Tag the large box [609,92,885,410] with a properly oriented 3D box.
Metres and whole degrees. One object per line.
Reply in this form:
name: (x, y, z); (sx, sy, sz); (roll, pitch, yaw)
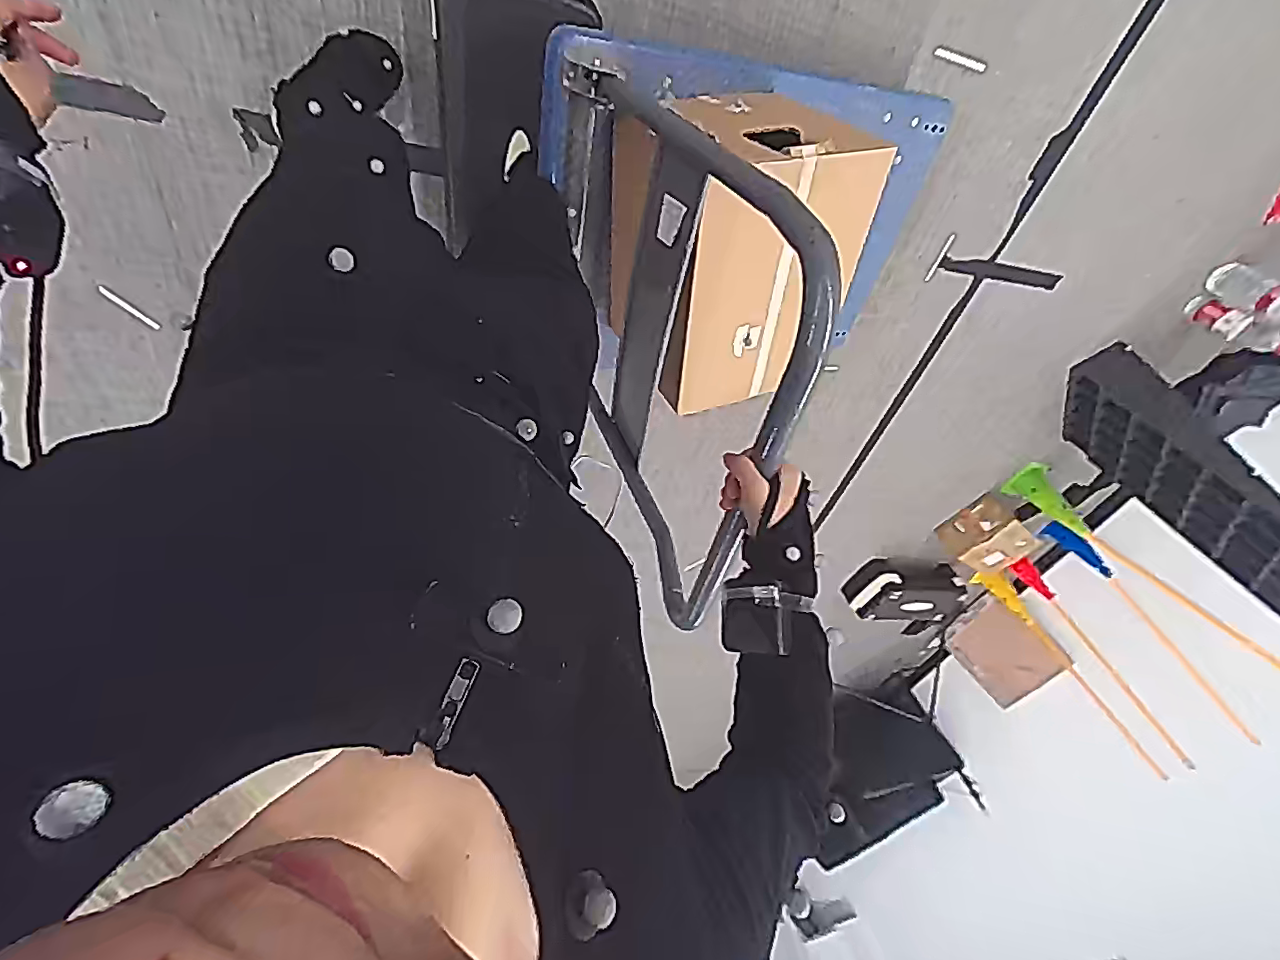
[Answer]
large box: (0.145, -0.401, 0.954); (0.320, 0.320, 0.408); (-17, 141, -18)
